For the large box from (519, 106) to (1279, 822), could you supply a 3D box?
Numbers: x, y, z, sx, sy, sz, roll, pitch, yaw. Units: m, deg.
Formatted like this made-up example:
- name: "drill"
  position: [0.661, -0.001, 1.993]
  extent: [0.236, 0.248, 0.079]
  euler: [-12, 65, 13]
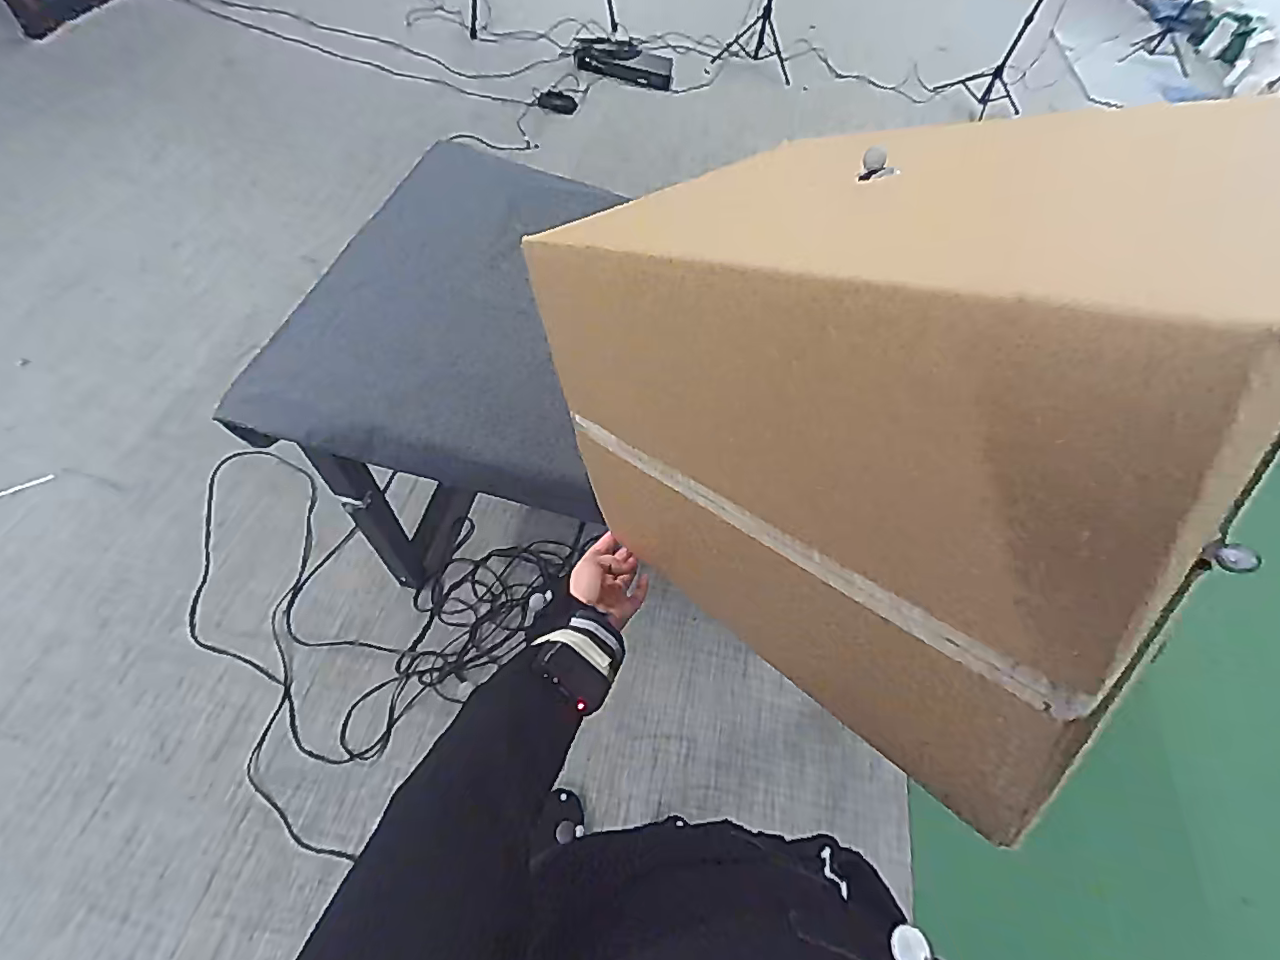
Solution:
- name: "large box"
  position: [0.172, -0.057, 0.418]
  extent: [0.320, 0.320, 0.408]
  euler: [-34, 40, -24]
